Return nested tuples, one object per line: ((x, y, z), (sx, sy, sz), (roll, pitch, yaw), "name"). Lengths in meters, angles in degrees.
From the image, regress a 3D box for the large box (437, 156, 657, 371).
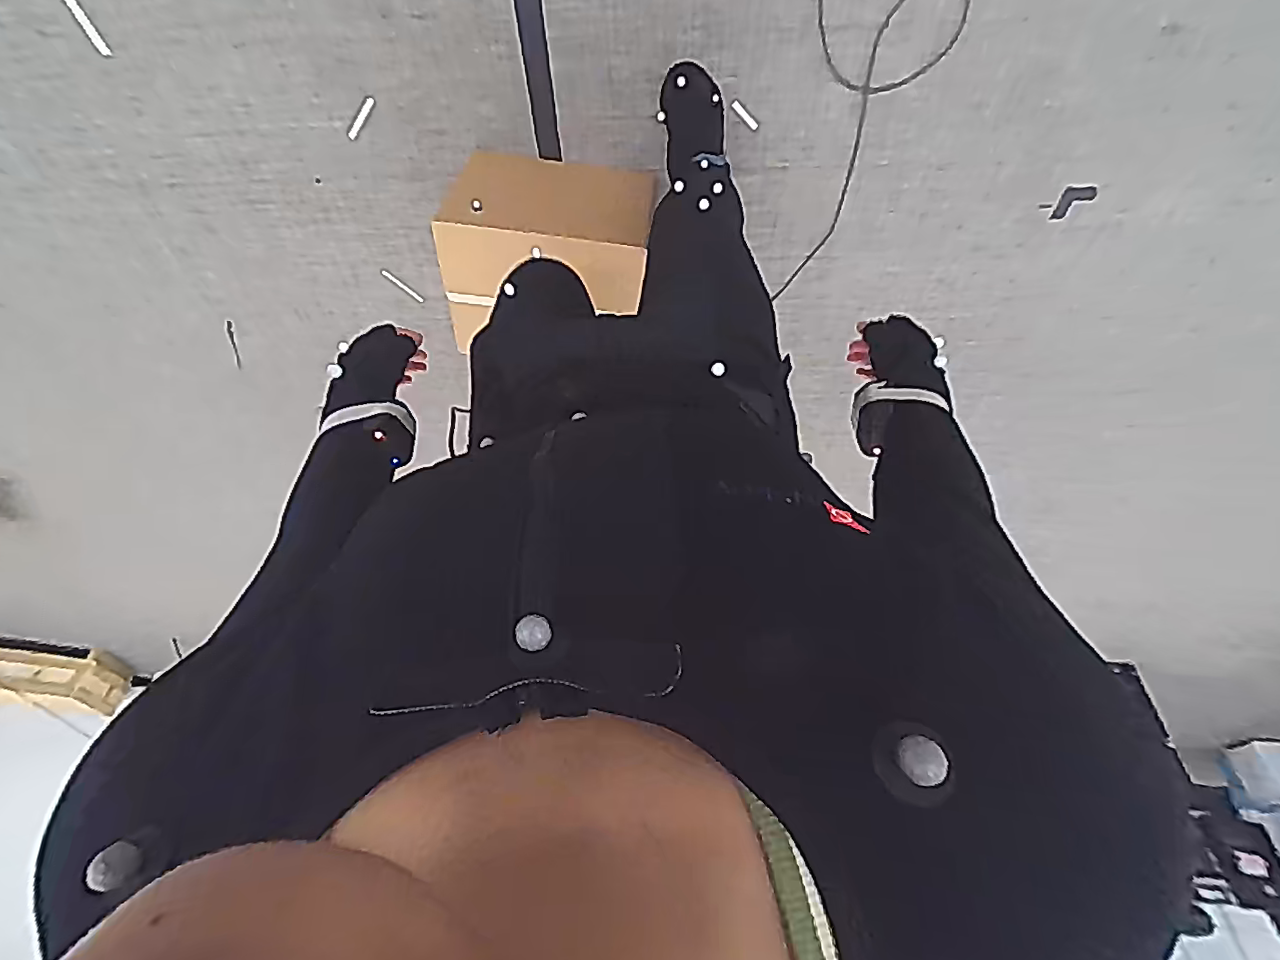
((-0.182, -0.479, 1.204), (0.408, 0.320, 0.320), (6, 143, -2), "large box")
